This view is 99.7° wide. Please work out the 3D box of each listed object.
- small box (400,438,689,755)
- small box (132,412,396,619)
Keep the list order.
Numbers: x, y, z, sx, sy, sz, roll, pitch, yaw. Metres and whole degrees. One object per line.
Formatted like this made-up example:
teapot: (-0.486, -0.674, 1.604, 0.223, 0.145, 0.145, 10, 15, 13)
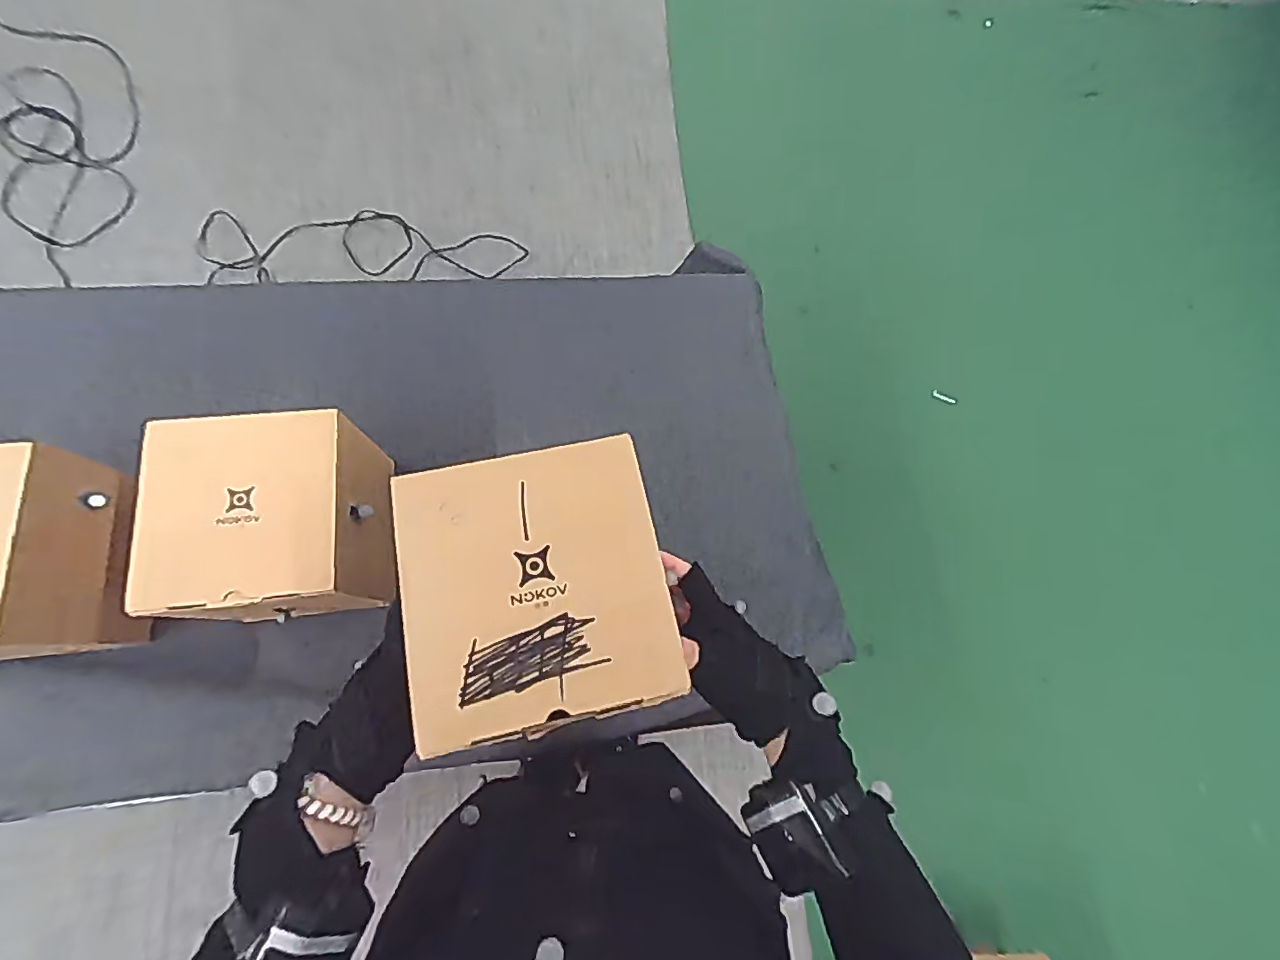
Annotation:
small box: (-0.069, 0.089, 0.419, 0.168, 0.176, 0.179, -10, 72, -8)
small box: (-0.362, 0.045, 0.559, 0.168, 0.176, 0.179, -5, 76, -9)
